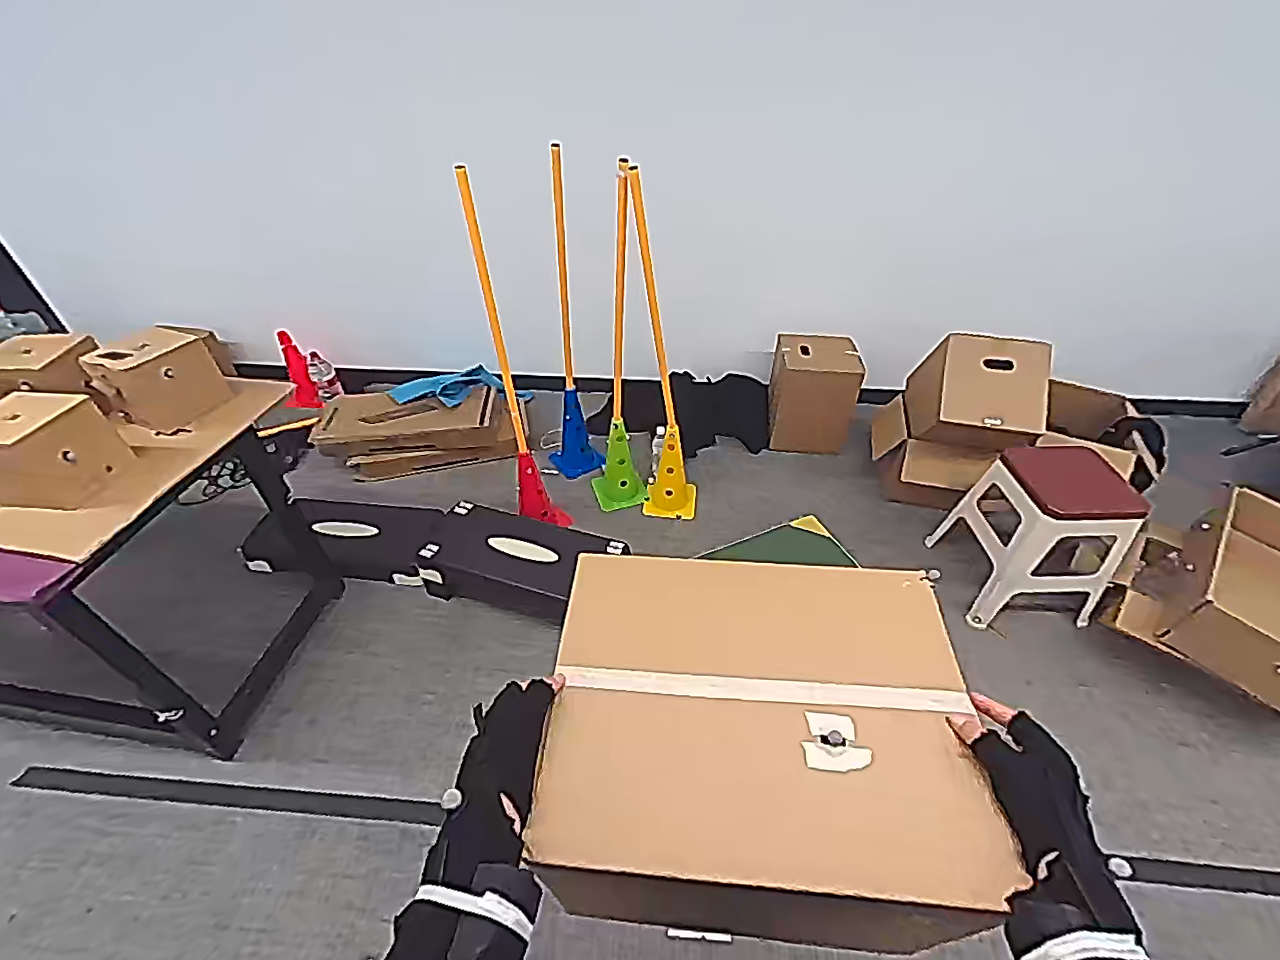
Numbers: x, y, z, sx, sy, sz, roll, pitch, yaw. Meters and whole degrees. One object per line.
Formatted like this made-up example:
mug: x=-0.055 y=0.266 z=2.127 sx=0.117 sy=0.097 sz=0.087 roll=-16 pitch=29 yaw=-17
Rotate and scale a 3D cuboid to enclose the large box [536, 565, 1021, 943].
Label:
large box: x=0.122 y=0.324 z=0.650 sx=0.408 sy=0.320 sz=0.320 roll=2 pitch=46 yaw=5
